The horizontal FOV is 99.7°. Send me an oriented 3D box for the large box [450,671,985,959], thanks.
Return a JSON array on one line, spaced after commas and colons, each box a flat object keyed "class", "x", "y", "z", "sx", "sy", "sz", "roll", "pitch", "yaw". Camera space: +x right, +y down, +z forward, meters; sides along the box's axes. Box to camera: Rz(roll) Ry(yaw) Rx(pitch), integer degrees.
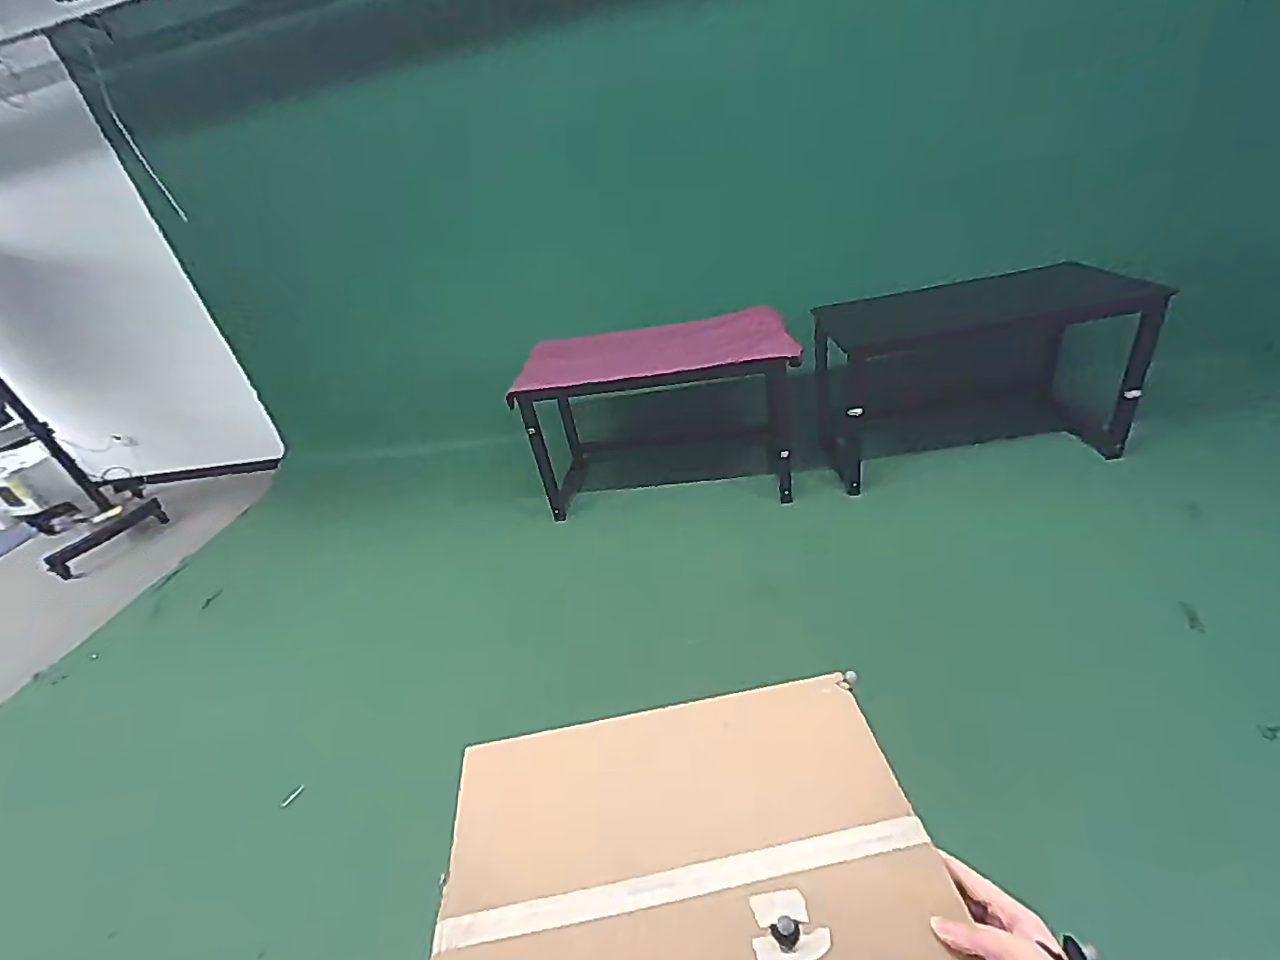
[{"class": "large box", "x": 0.055, "y": 0.448, "z": 0.542, "sx": 0.408, "sy": 0.320, "sz": 0.320, "roll": -9, "pitch": 36, "yaw": -4}]
